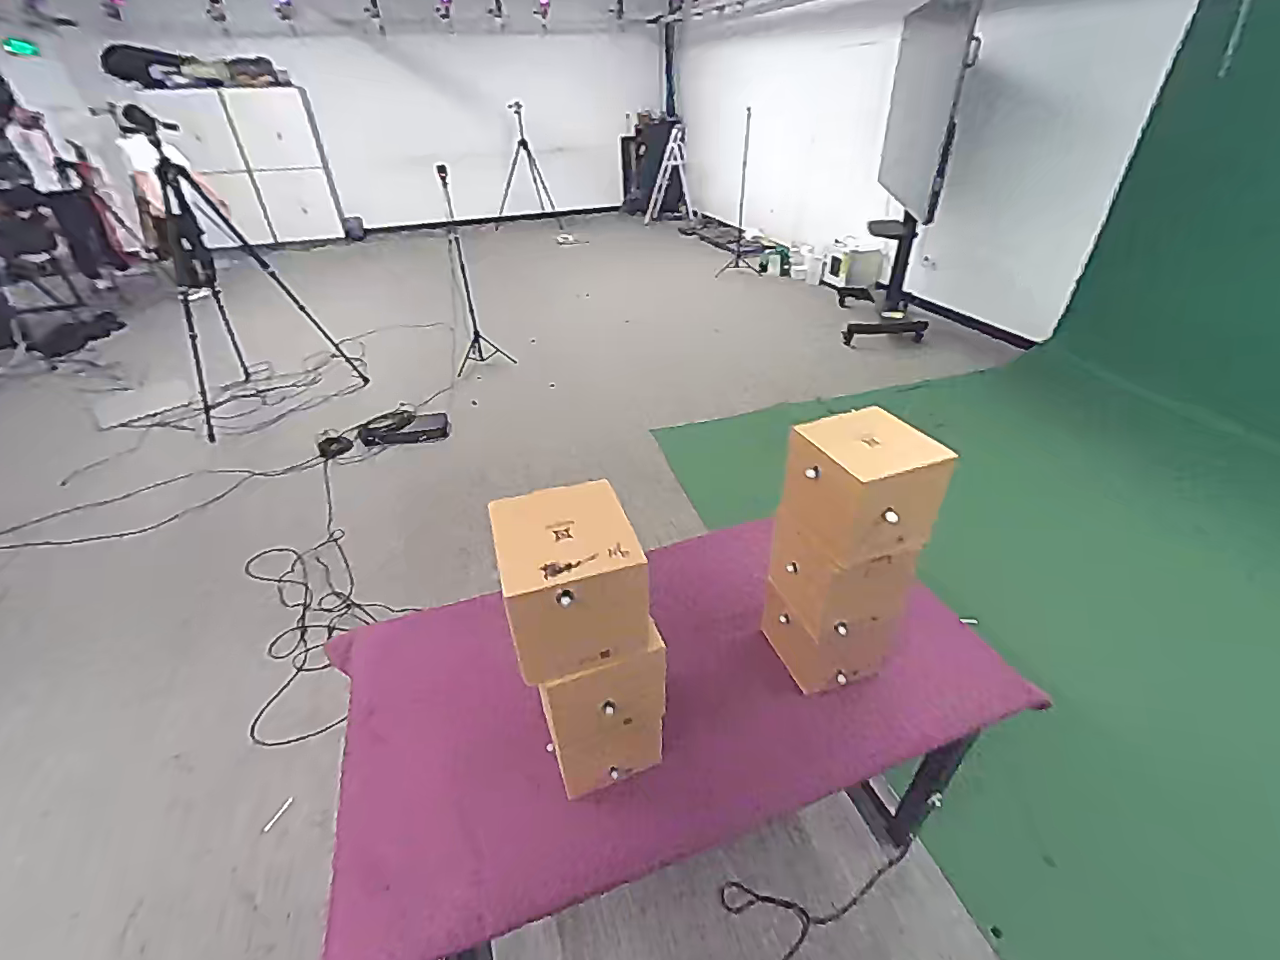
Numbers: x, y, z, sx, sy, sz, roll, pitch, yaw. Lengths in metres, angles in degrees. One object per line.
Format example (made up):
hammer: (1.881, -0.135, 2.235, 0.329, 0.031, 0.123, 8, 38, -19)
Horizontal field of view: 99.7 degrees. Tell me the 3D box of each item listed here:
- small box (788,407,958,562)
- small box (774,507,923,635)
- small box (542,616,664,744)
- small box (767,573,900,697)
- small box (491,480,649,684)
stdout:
small box: (0.352, 0.010, 0.853, 0.168, 0.176, 0.179, -15, 35, -14)
small box: (0.350, 0.146, 0.941, 0.168, 0.176, 0.179, -13, 35, -13)
small box: (-0.069, 0.260, 0.802, 0.168, 0.176, 0.179, -14, 37, -16)
small box: (0.357, 0.278, 1.038, 0.168, 0.176, 0.179, -13, 36, -12)
small box: (-0.091, 0.128, 0.705, 0.168, 0.176, 0.179, -12, 37, -13)
